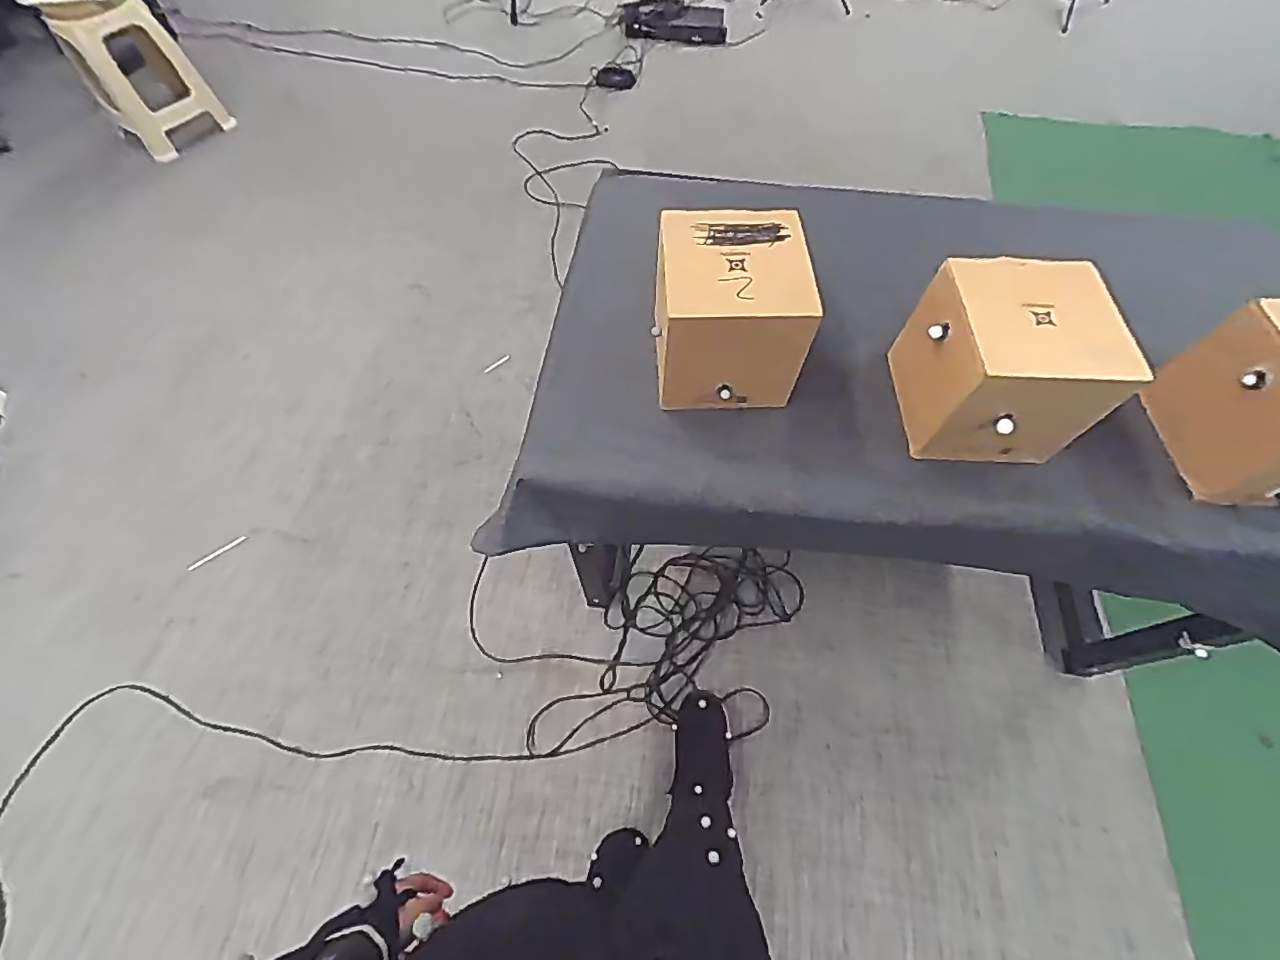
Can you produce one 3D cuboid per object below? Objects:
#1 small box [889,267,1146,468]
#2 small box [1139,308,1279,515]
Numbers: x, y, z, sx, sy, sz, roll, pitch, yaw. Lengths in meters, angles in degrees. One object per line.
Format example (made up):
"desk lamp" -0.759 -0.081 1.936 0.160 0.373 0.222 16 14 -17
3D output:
"small box" 0.423 -0.127 0.645 0.168 0.176 0.179 2 60 1
"small box" 0.743 -0.073 0.620 0.168 0.176 0.179 0 62 1
